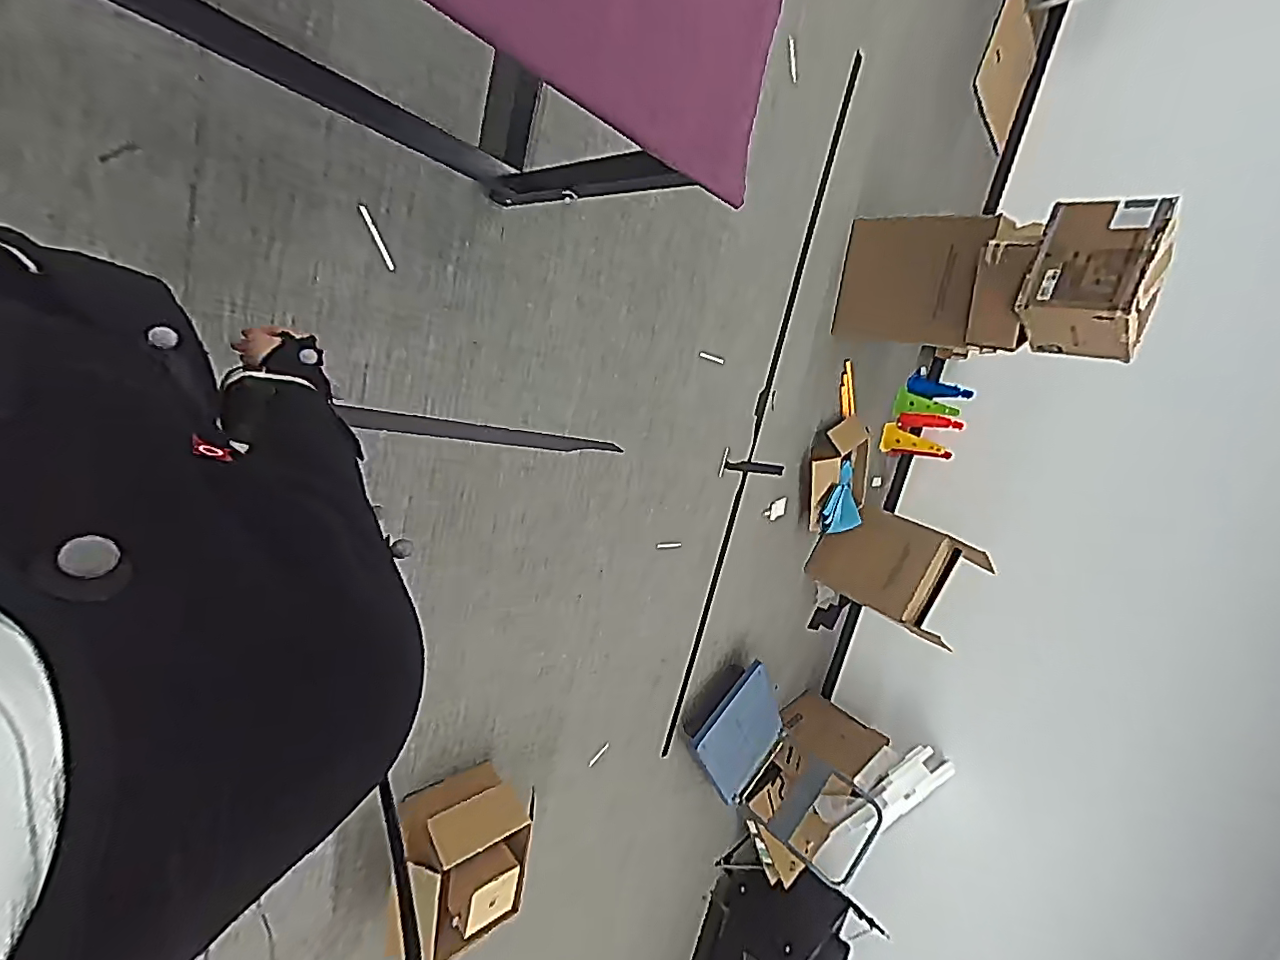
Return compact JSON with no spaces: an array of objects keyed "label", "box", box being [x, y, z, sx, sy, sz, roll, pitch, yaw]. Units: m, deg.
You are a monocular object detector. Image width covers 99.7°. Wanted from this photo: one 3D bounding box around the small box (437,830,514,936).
[{"label":"small box","box":[-0.530,1.274,1.723,0.168,0.176,0.179,0,106,-46]}]
